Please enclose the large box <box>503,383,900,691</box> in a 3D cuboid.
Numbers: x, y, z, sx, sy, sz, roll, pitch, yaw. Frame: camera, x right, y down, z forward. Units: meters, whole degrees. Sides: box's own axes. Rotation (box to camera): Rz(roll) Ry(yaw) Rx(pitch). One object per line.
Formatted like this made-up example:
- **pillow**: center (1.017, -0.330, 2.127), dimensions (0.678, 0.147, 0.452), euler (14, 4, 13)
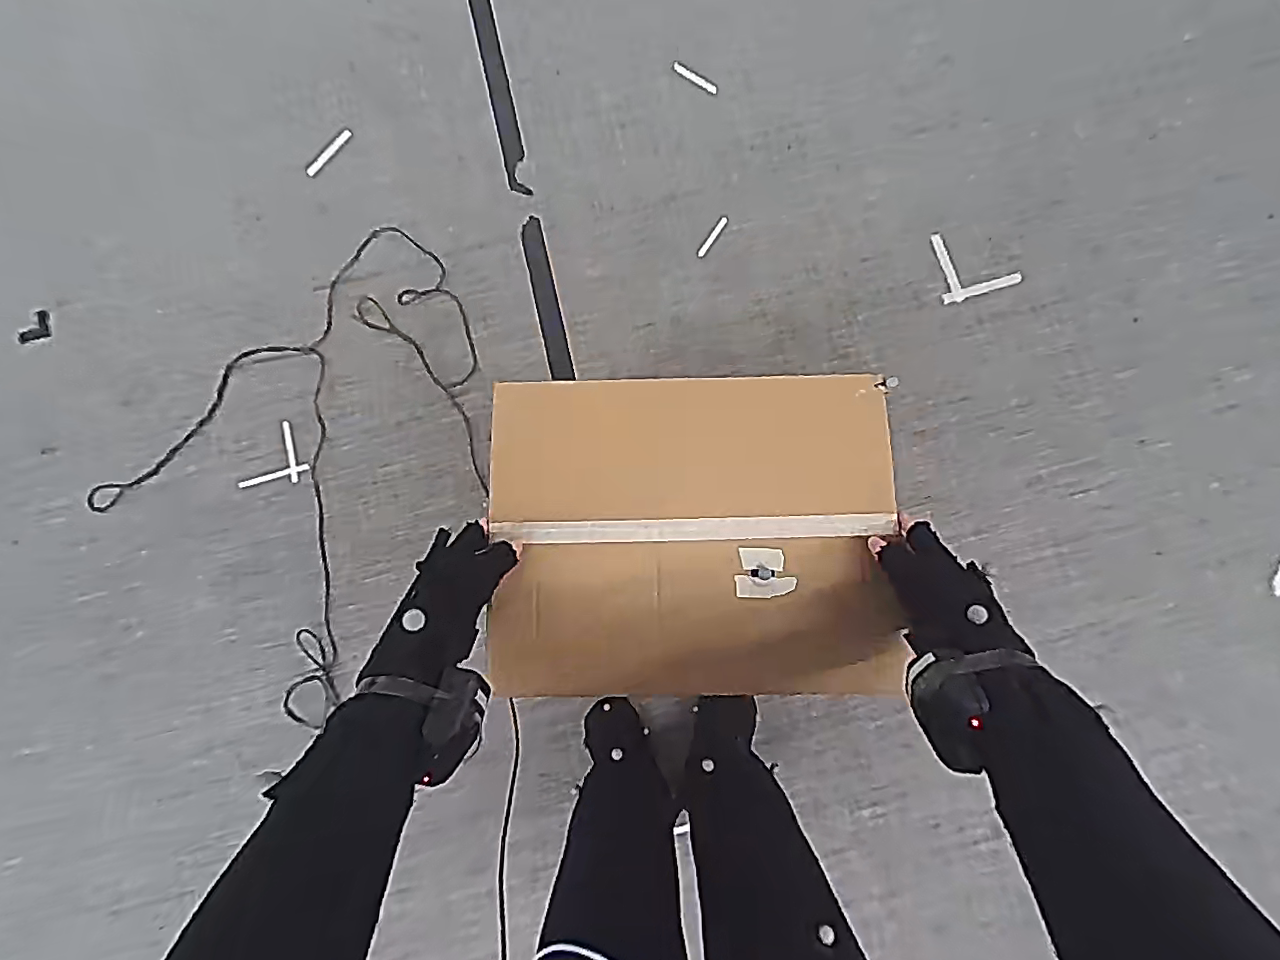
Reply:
- **large box**: center (0.056, 0.079, 0.708), dimensions (0.408, 0.320, 0.320), euler (-1, 80, 1)
